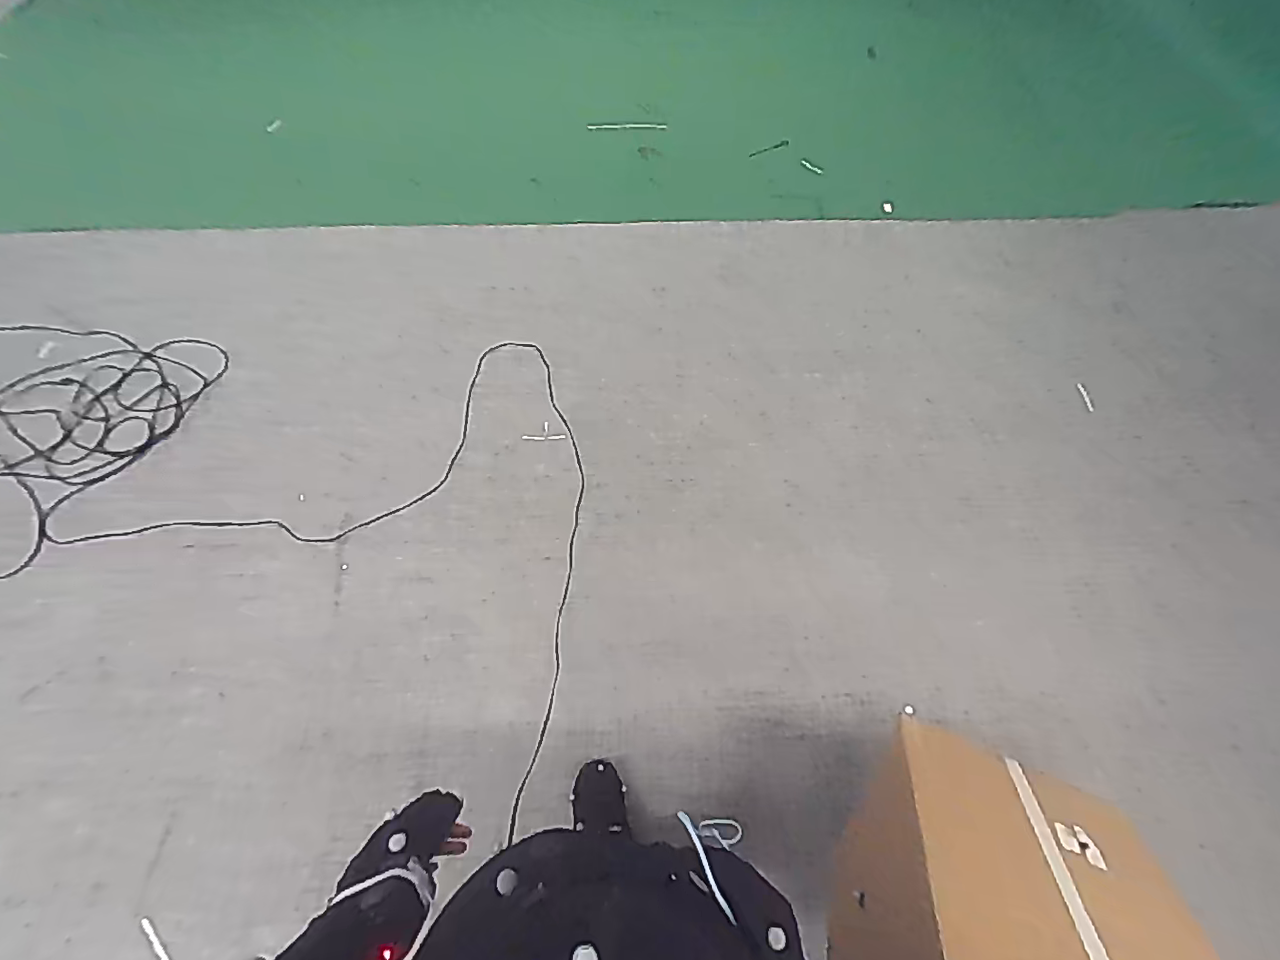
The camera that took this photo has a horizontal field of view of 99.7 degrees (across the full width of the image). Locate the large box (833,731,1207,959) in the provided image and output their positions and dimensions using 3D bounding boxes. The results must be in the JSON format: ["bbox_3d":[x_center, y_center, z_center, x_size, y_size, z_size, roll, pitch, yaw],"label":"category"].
[{"bbox_3d":[0.440,0.613,0.661,0.320,0.408,0.320,22,106,15],"label":"large box"}]
